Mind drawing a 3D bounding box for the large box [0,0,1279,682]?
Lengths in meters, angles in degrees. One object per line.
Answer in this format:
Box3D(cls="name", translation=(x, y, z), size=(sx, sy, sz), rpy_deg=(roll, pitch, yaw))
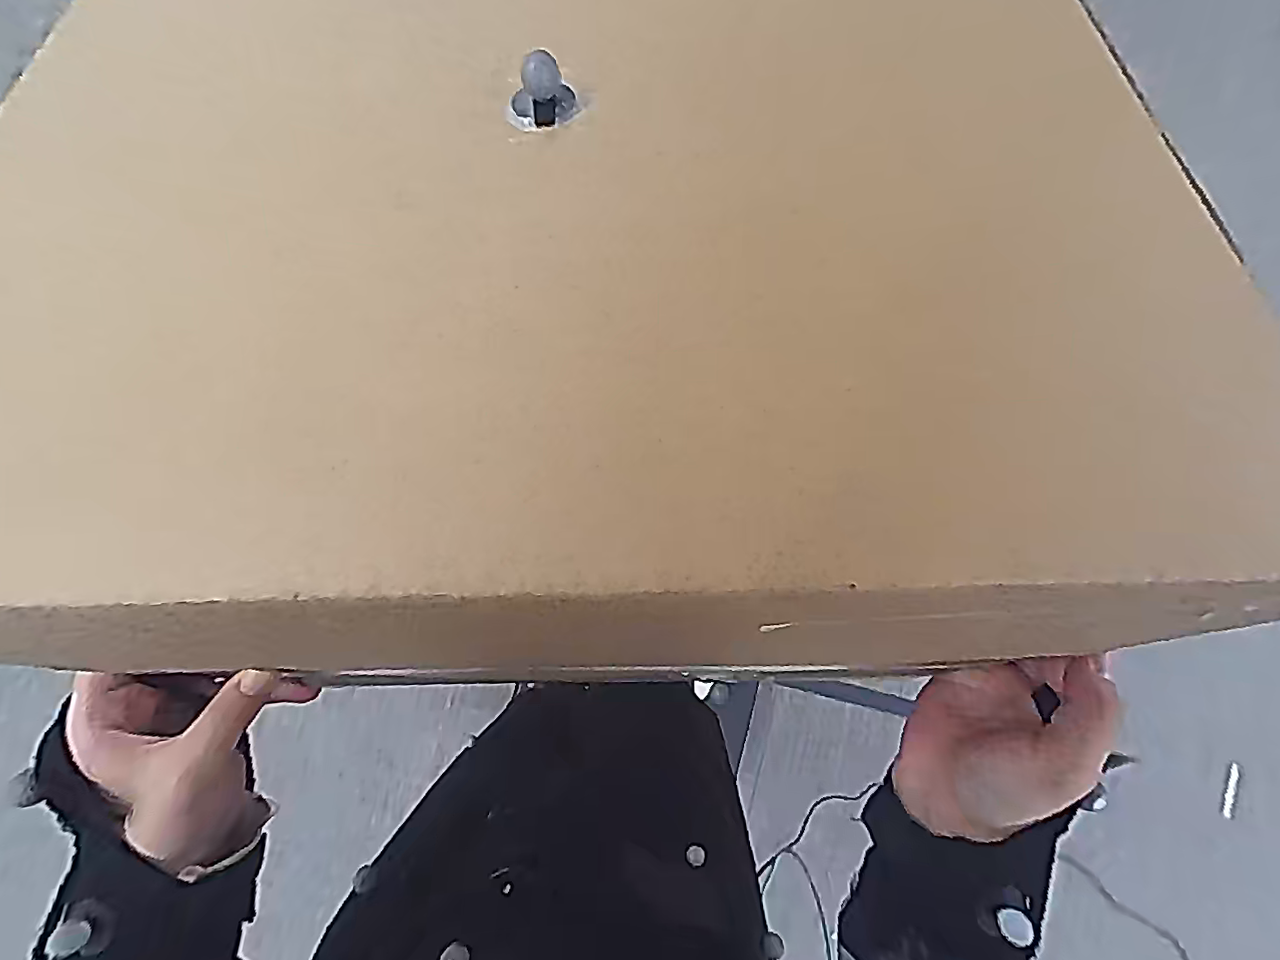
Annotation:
Box3D(cls="large box", translation=(-0.037, -0.057, 0.319), size=(0.408, 0.320, 0.320), rpy_deg=(-2, 68, 2))
